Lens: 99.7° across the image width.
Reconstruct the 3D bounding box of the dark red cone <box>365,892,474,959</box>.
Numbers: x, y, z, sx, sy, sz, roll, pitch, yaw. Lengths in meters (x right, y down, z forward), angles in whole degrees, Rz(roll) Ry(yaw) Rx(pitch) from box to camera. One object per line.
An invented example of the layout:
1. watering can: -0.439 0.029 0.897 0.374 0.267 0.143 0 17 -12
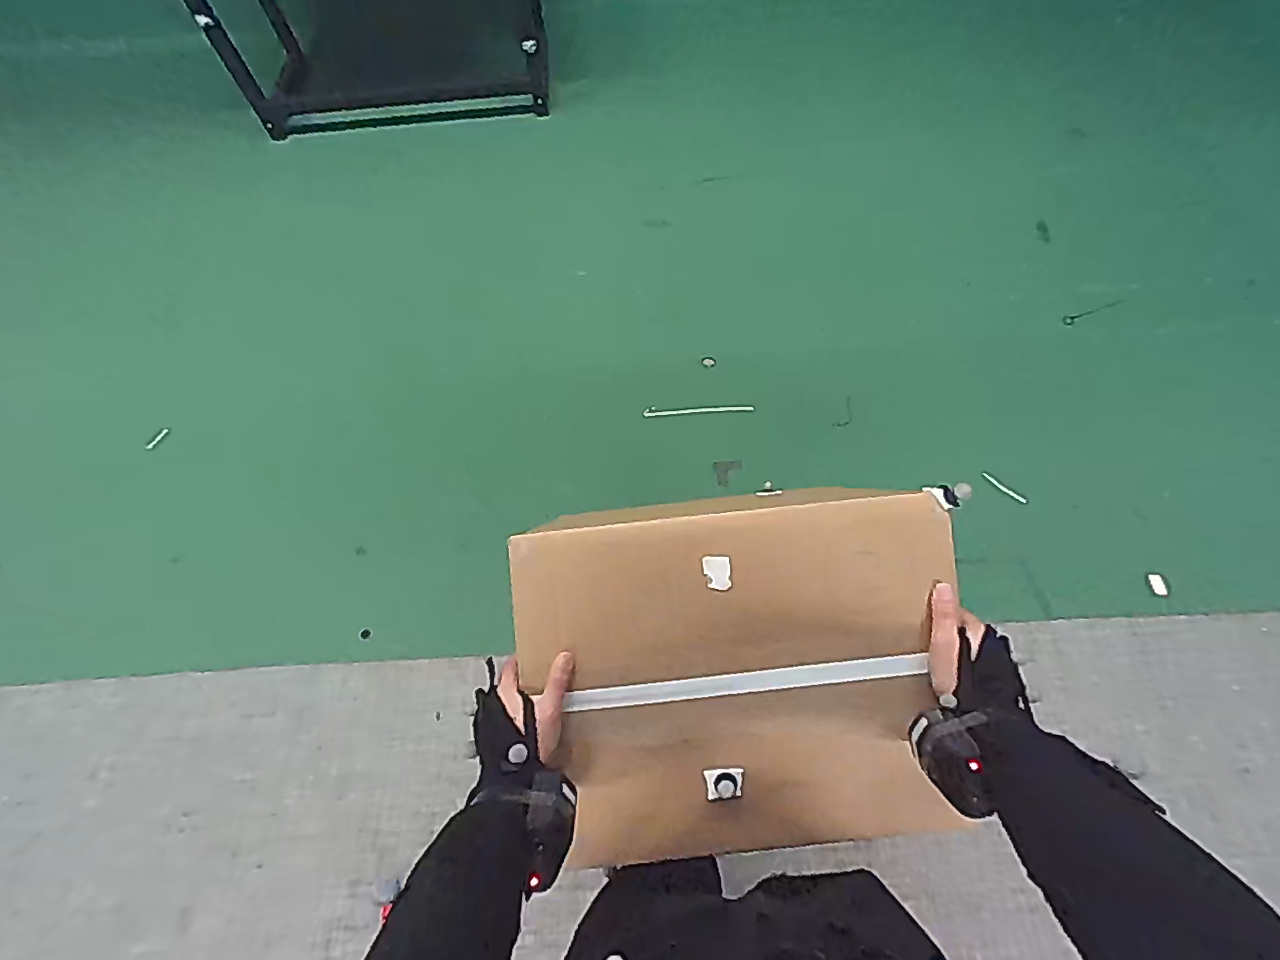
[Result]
1. dark red cone: -0.412 0.795 0.834 0.202 0.394 0.201 -10 58 -1
